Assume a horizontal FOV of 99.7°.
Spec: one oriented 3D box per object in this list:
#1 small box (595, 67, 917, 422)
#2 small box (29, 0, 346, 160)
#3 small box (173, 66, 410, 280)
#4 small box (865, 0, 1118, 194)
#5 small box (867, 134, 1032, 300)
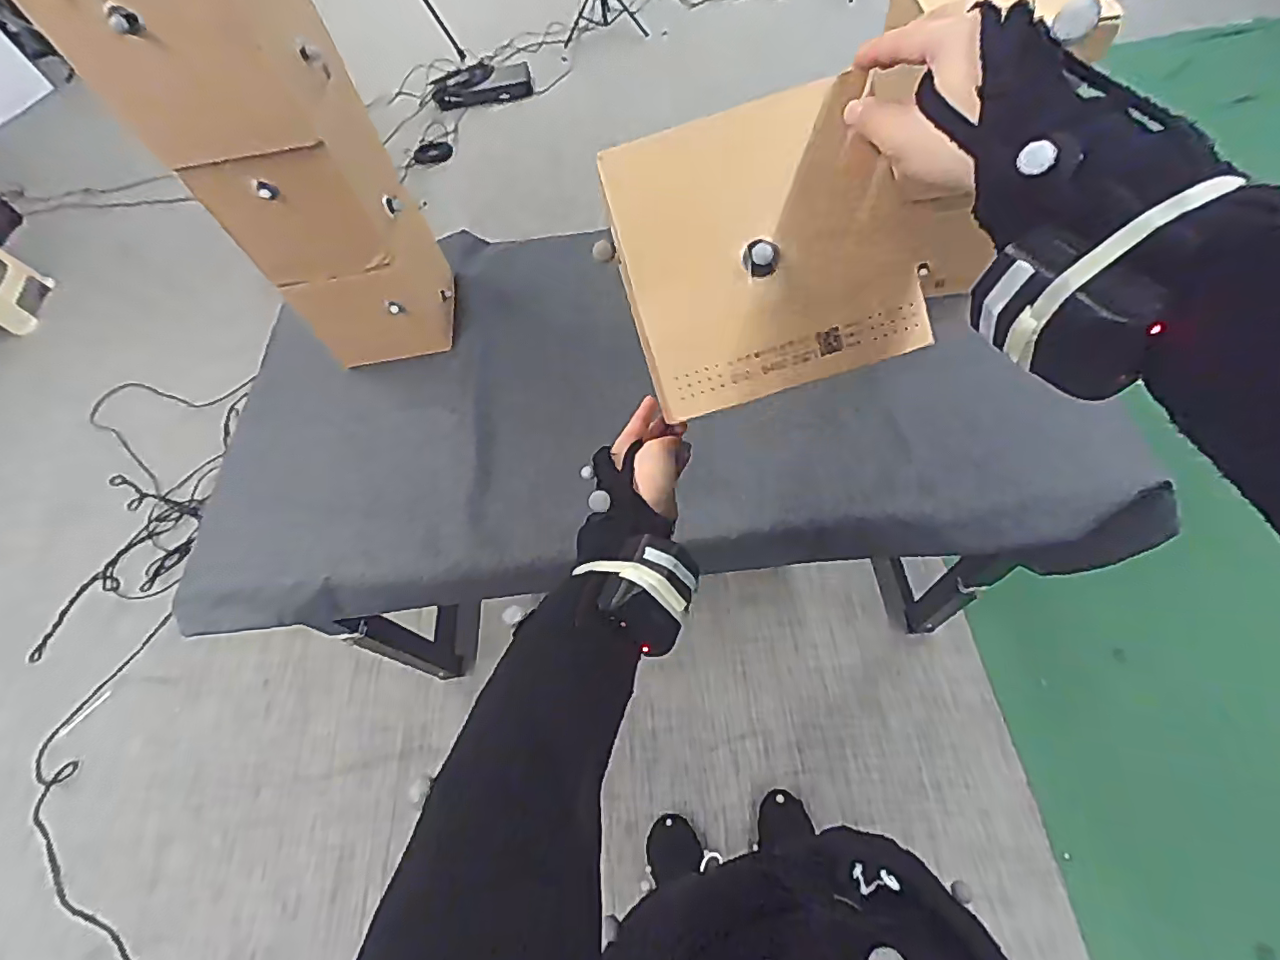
[{"bbox_3d":[0.076,-0.143,0.402,0.168,0.179,0.176,-15,95,4],"label":"small box"},{"bbox_3d":[-0.435,-0.451,0.541,0.179,0.176,0.168,-8,62,2],"label":"small box"},{"bbox_3d":[-0.422,-0.380,0.689,0.179,0.176,0.168,-9,62,1],"label":"small box"},{"bbox_3d":[0.374,-0.452,0.618,0.168,0.176,0.179,-4,62,6],"label":"small box"},{"bbox_3d":[0.397,-0.379,0.763,0.168,0.176,0.179,-4,62,6],"label":"small box"}]
